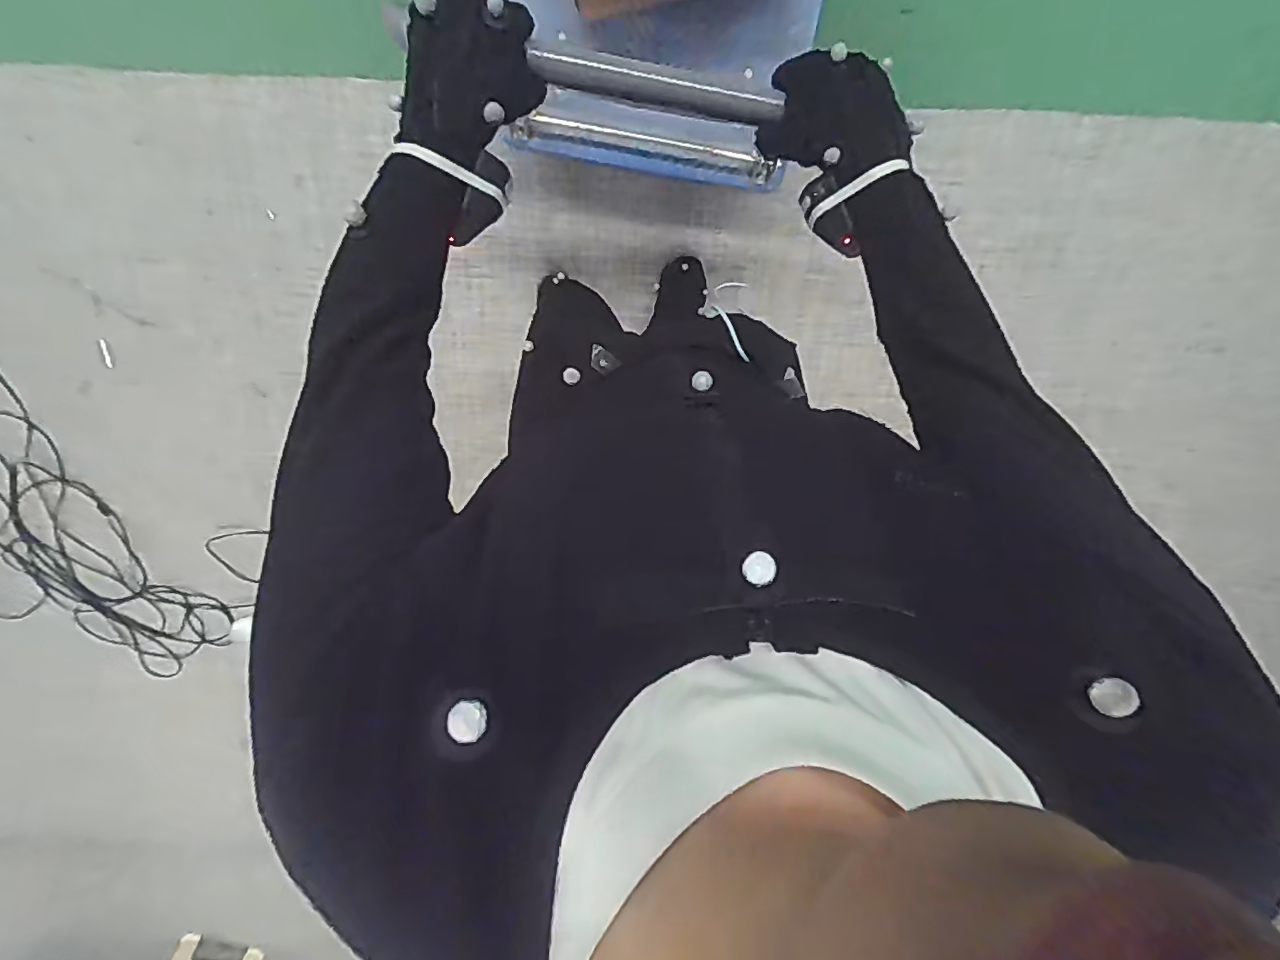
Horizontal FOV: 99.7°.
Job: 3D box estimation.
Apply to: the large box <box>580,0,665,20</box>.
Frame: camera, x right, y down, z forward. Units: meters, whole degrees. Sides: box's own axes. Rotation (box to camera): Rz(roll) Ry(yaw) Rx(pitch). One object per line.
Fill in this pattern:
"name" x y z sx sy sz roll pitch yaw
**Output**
"large box" 0.062 -0.956 0.785 0.408 0.320 0.320 -11 113 5
